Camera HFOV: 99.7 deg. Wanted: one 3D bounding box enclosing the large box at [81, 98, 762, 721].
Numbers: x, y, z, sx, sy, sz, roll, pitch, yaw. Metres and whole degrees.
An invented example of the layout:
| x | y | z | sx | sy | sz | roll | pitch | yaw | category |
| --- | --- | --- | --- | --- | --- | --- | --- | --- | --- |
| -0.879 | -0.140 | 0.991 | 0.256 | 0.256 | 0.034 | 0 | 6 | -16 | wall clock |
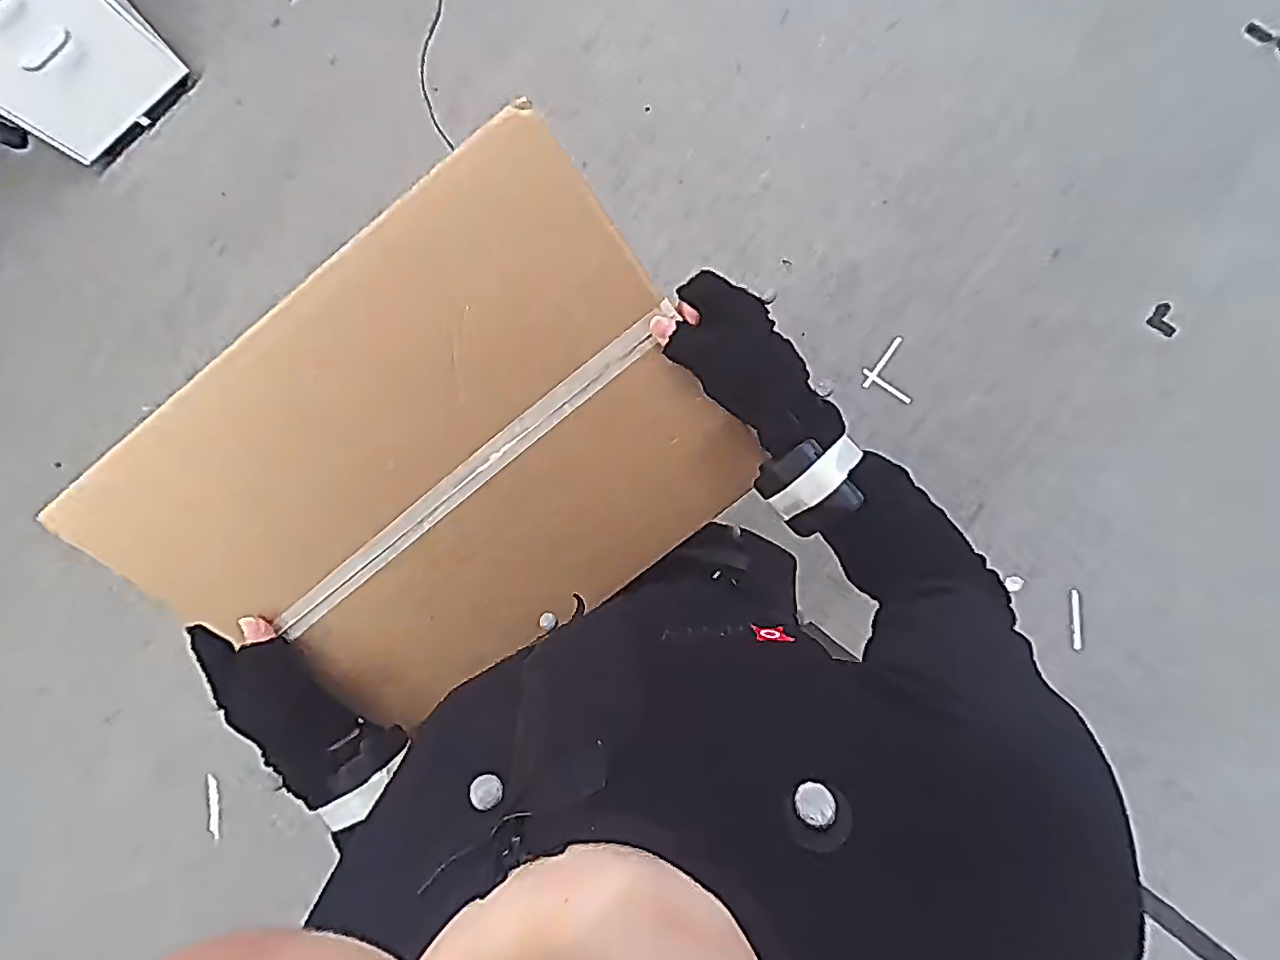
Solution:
| x | y | z | sx | sy | sz | roll | pitch | yaw | category |
| --- | --- | --- | --- | --- | --- | --- | --- | --- | --- |
| -0.168 | -0.062 | 0.541 | 0.408 | 0.320 | 0.320 | -38 | 116 | 5 | large box |
